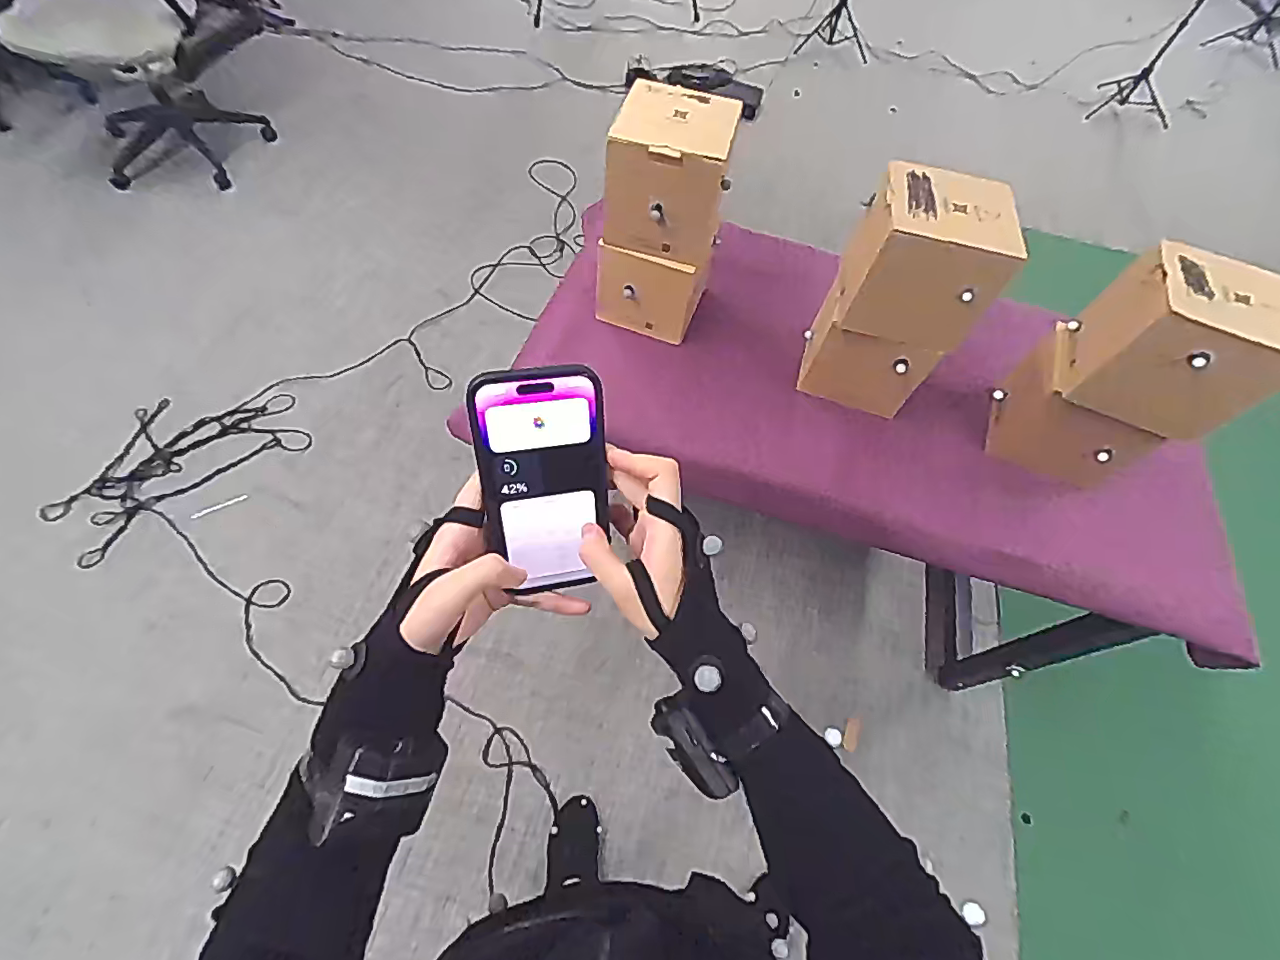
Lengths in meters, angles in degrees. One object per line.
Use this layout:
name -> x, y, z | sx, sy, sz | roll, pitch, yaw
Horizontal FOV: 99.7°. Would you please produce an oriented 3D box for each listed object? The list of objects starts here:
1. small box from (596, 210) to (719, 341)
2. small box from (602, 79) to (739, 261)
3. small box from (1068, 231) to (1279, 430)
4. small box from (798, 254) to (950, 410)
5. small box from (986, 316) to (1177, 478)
small box -> 0.029, -0.380, 0.969 | 0.168, 0.176, 0.179 | 18, 60, 6
small box -> 0.043, -0.470, 0.833 | 0.168, 0.176, 0.179 | 14, 60, 3
small box -> 0.725, -0.195, 0.731 | 0.179, 0.176, 0.168 | 23, 60, 8
small box -> 0.392, -0.244, 0.919 | 0.179, 0.176, 0.168 | 18, 59, 6
small box -> 0.709, -0.127, 0.880 | 0.179, 0.176, 0.168 | 23, 60, 9
